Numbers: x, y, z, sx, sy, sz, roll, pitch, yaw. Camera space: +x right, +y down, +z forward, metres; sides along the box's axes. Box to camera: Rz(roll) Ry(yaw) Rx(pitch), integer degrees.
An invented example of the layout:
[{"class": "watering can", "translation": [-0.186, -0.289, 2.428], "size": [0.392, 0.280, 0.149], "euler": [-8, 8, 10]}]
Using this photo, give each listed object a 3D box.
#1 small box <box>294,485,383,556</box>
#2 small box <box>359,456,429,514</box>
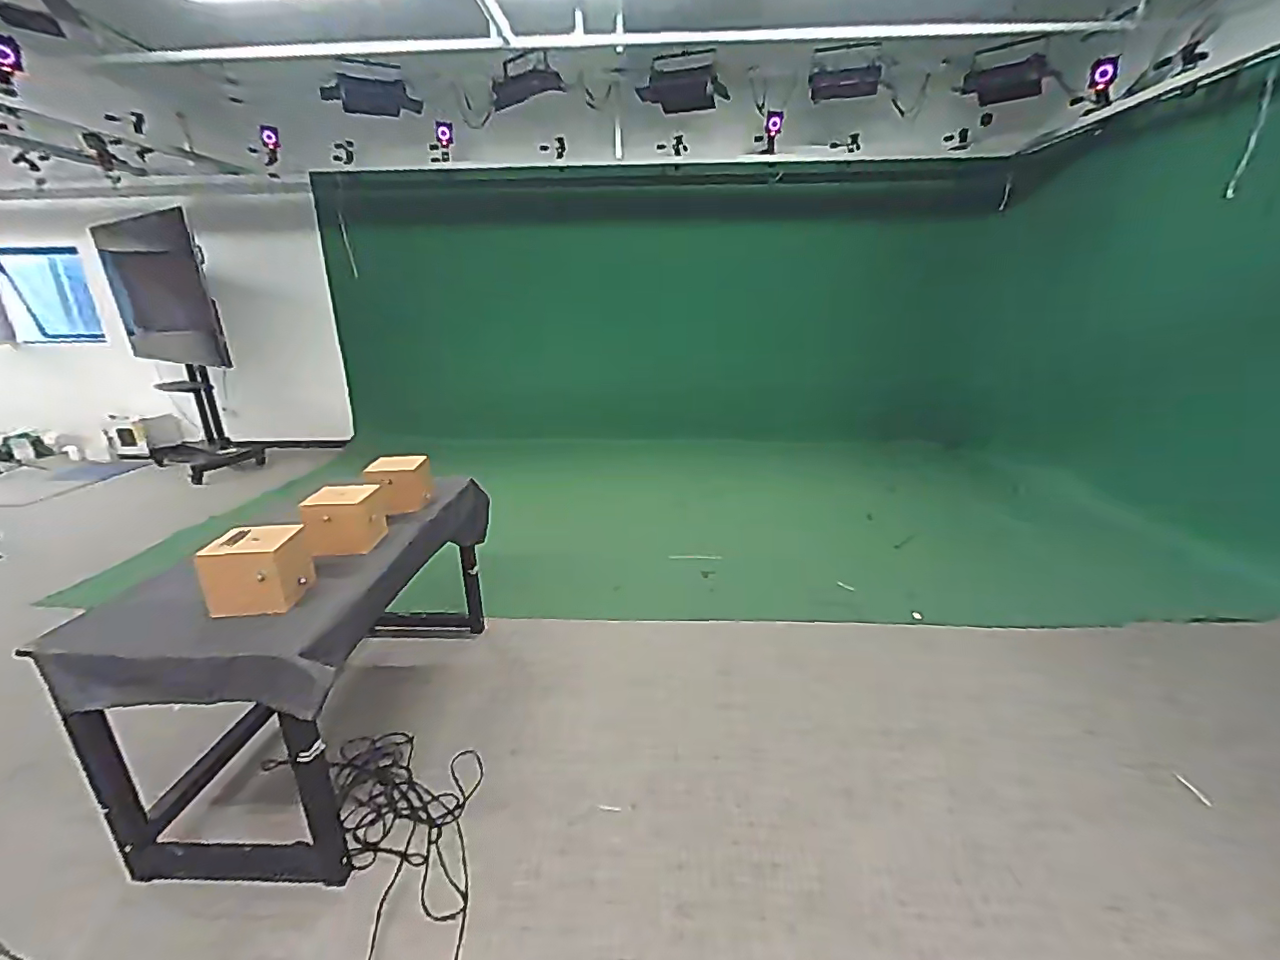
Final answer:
[{"class": "small box", "translation": [-0.908, 0.122, 1.649], "size": [0.179, 0.176, 0.168], "euler": [-2, 19, -3]}, {"class": "small box", "translation": [-0.882, 0.018, 1.956], "size": [0.179, 0.176, 0.168], "euler": [-2, 20, -5]}]
